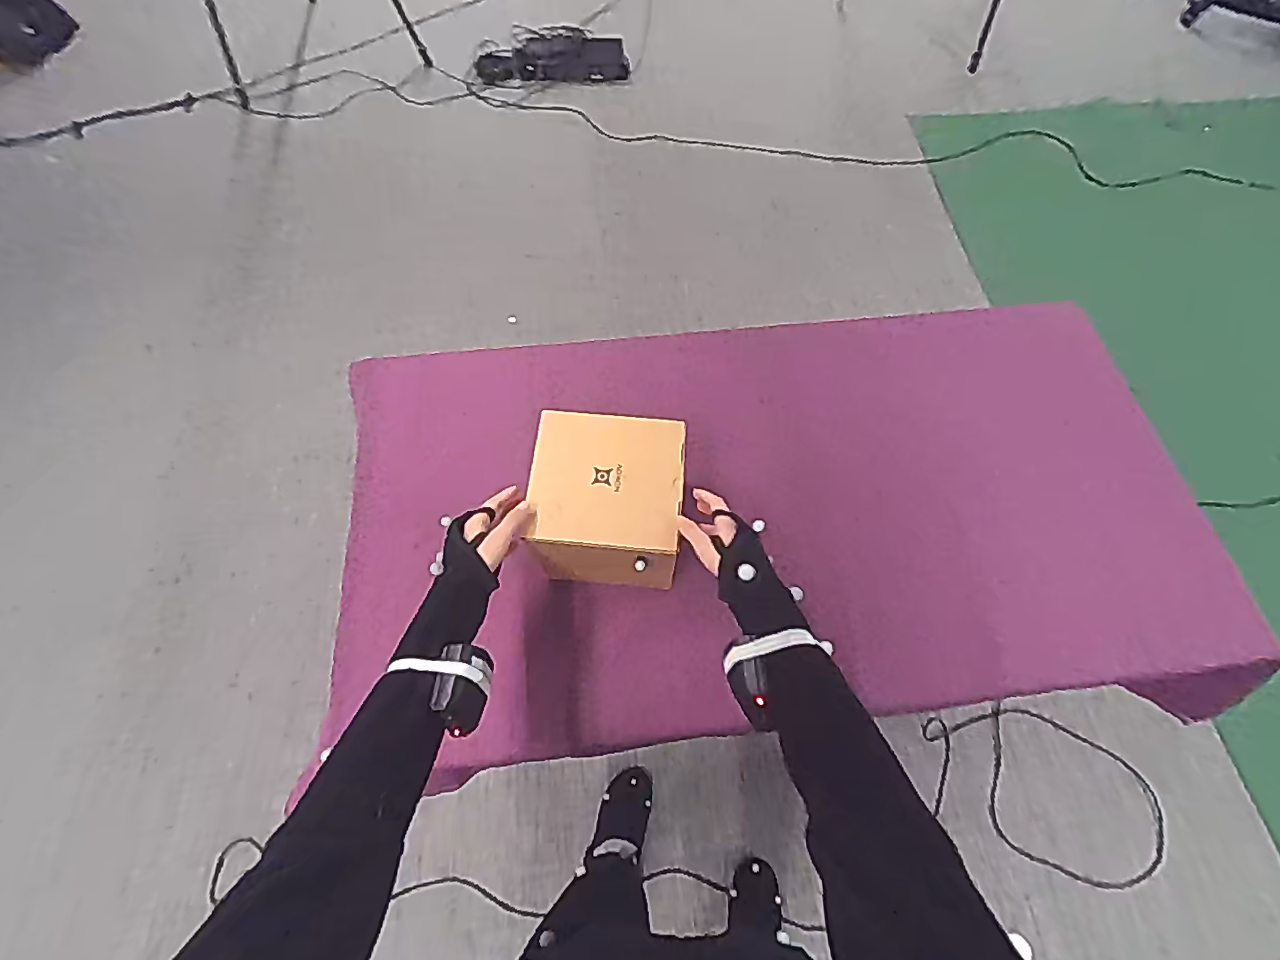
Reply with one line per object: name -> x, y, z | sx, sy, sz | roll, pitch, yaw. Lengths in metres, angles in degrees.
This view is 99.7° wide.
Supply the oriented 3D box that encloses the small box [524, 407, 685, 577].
small box -> -0.038, 0.023, 0.705 | 0.179, 0.176, 0.168 | 4, 65, 0
